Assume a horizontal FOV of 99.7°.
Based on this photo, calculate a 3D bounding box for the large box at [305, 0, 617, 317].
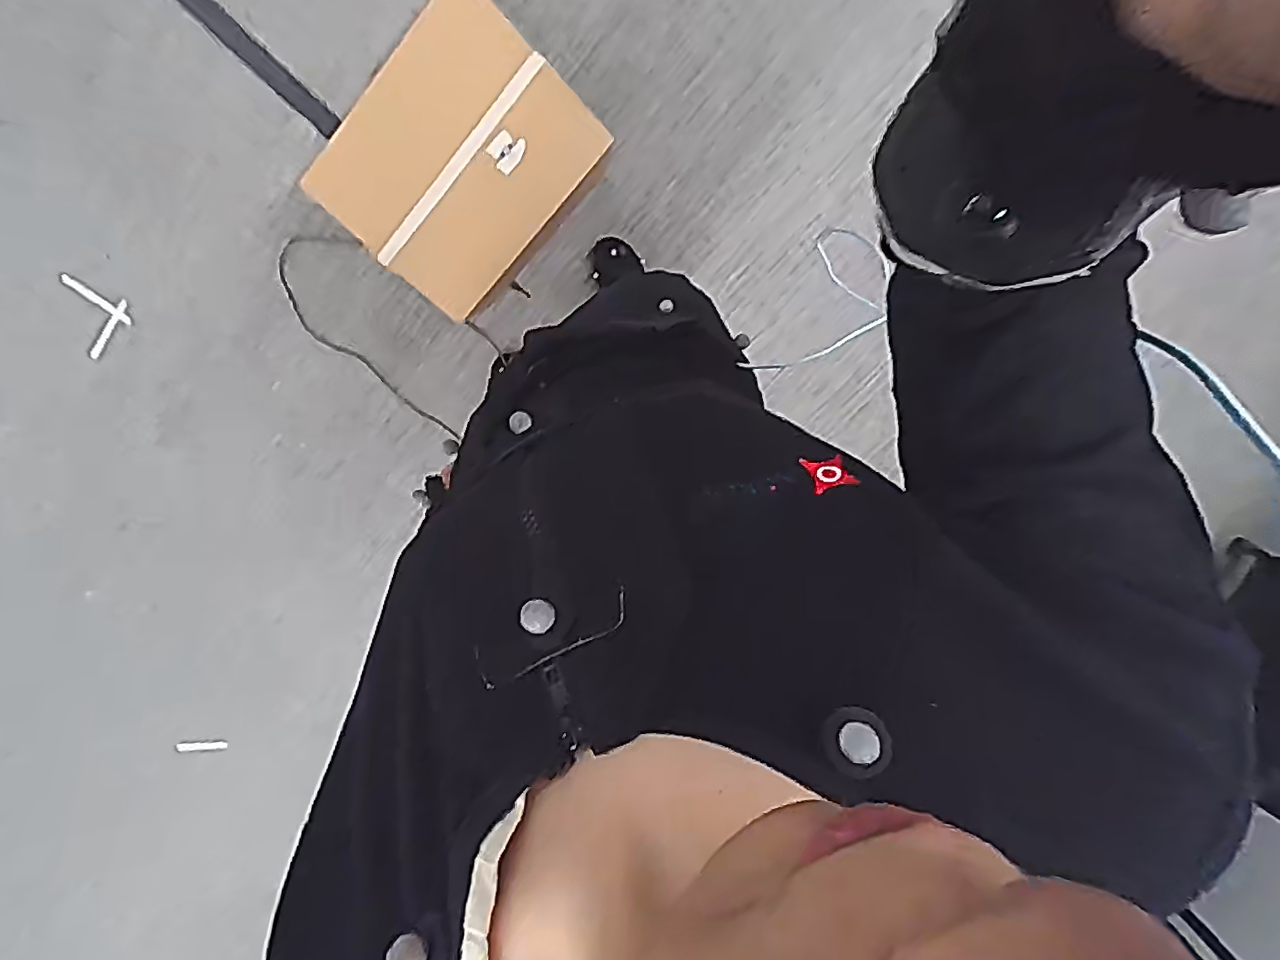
[{"bbox_3d":[-0.294,-0.559,0.980,0.320,0.320,0.408,41,101,-20],"label":"large box"}]
